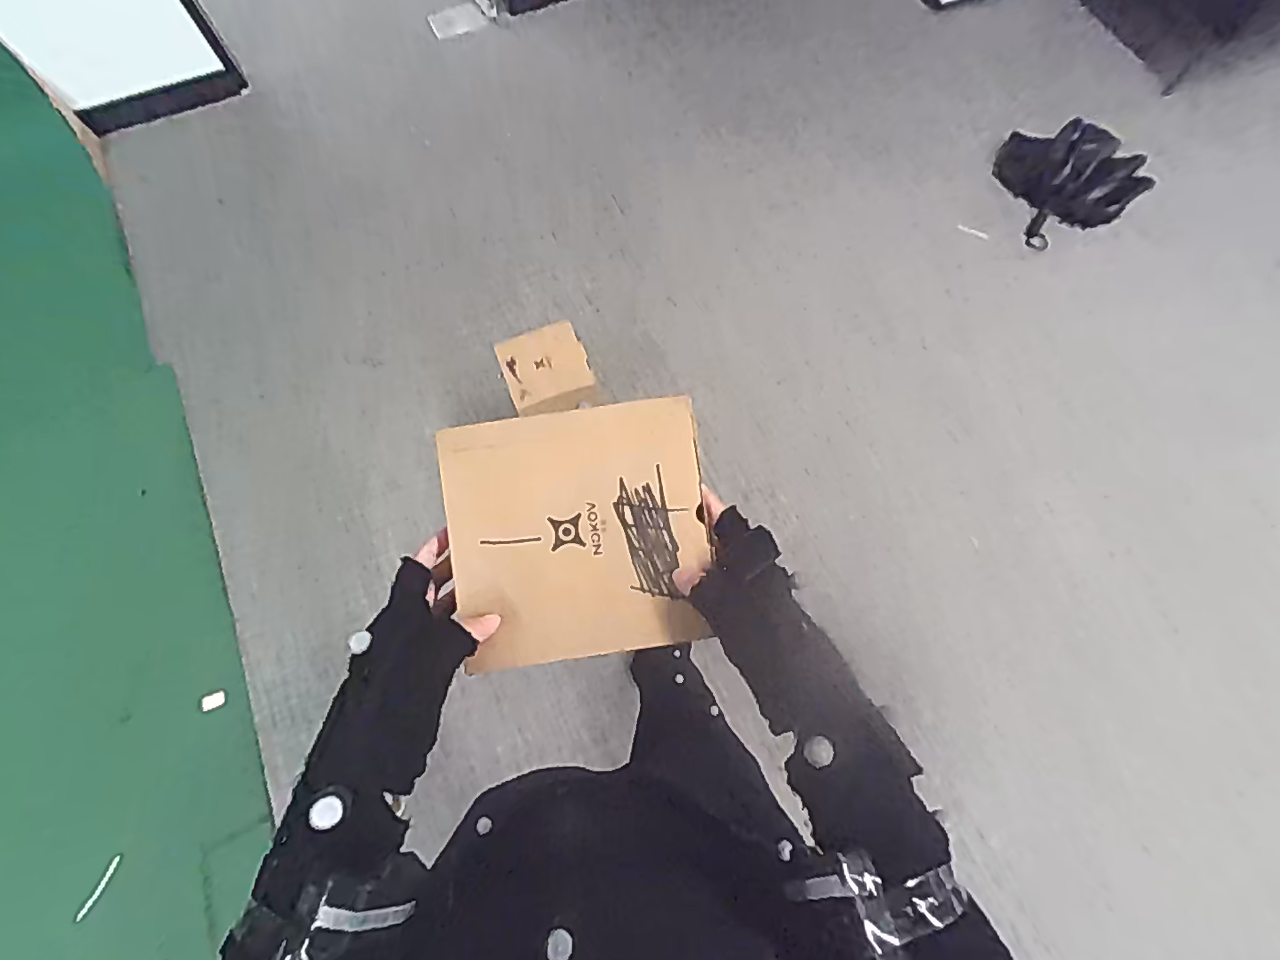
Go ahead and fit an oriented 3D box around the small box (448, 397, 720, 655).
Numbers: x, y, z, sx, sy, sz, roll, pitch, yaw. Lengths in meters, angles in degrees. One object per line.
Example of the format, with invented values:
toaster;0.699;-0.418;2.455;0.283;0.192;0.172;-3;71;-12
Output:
small box;-0.041;0.035;0.448;0.179;0.176;0.168;-6;85;-2

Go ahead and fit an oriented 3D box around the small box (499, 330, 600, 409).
small box;-0.196;-0.201;1.213;0.179;0.176;0.168;-20;72;-8
